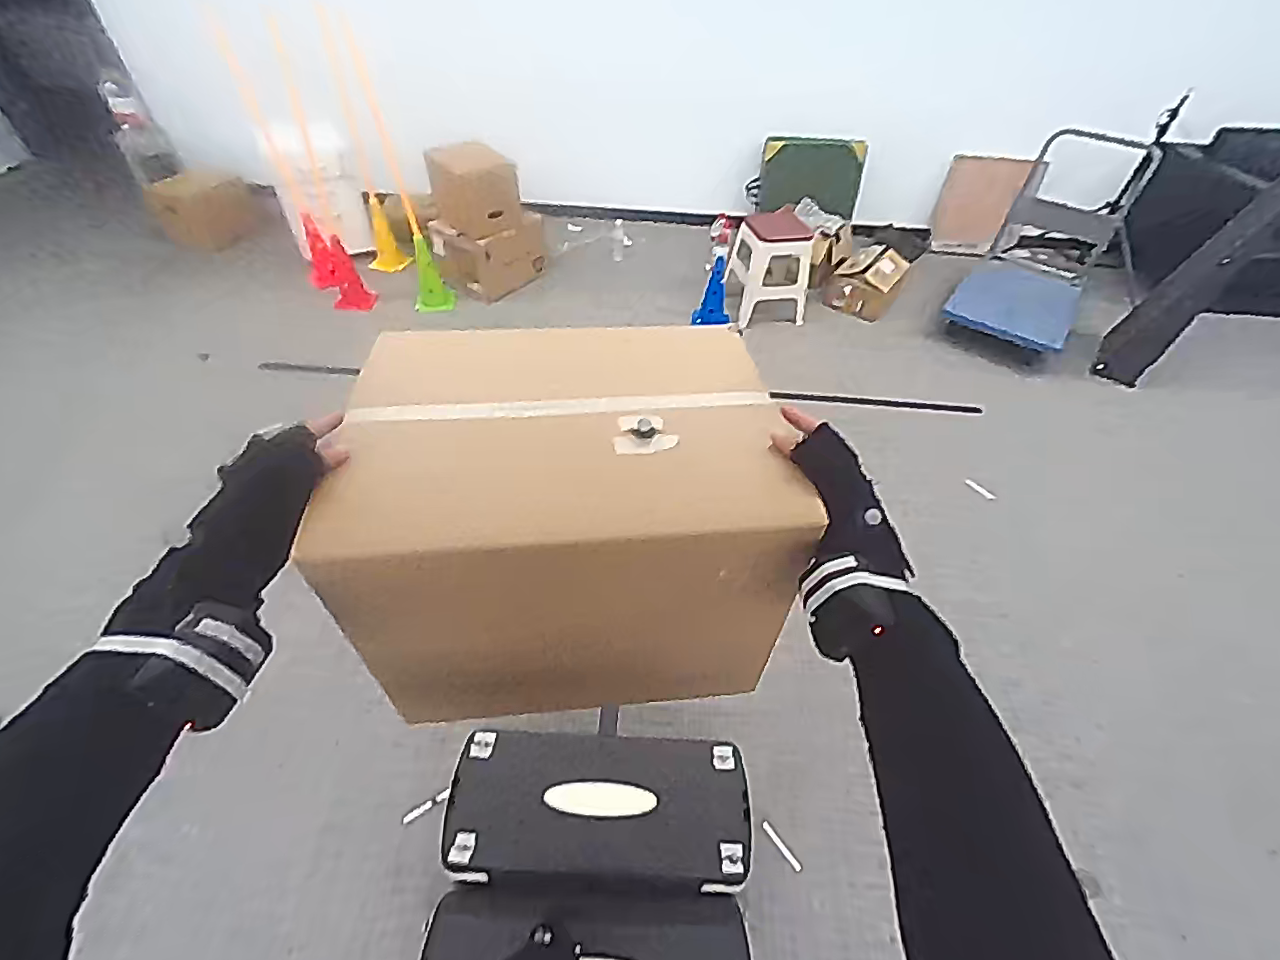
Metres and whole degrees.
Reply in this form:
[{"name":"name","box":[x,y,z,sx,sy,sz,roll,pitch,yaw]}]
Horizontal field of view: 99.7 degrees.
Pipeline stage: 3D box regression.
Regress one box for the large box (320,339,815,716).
[{"name":"large box","box":[-0.074,0.048,0.636,0.408,0.320,0.320,-2,46,-7]}]

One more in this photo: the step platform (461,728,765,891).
[{"name":"step platform","box":[-0.058,0.766,1.271,0.684,0.204,0.286,4,47,-2]}]
